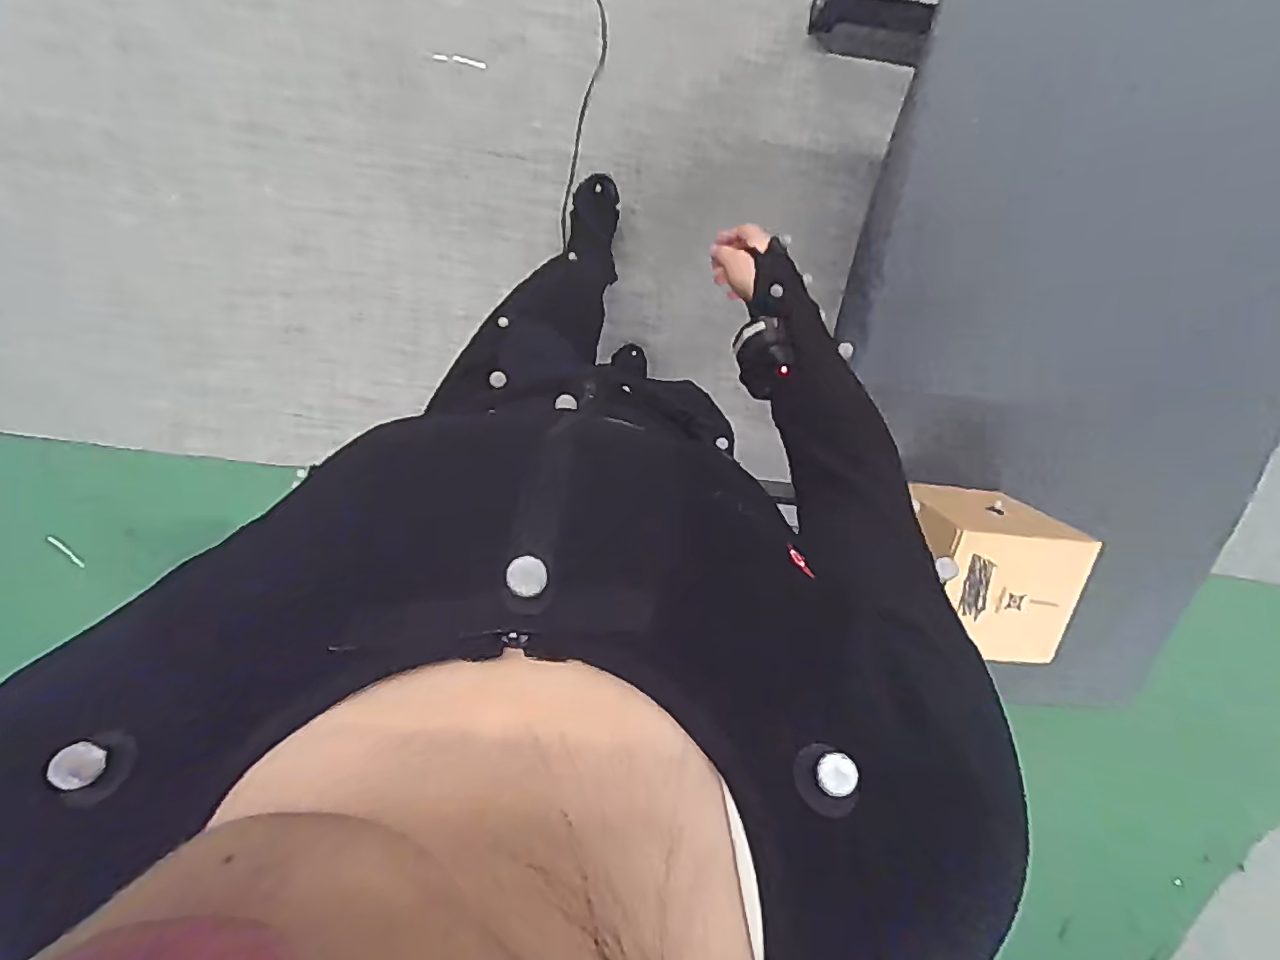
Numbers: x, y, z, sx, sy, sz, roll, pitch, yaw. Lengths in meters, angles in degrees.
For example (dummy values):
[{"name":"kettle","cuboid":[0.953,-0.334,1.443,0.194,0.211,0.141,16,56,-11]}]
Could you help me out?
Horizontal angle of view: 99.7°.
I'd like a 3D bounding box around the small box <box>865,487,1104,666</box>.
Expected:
[{"name":"small box","cuboid":[0.421,0.114,0.697,0.179,0.176,0.168,5,107,-7]}]
